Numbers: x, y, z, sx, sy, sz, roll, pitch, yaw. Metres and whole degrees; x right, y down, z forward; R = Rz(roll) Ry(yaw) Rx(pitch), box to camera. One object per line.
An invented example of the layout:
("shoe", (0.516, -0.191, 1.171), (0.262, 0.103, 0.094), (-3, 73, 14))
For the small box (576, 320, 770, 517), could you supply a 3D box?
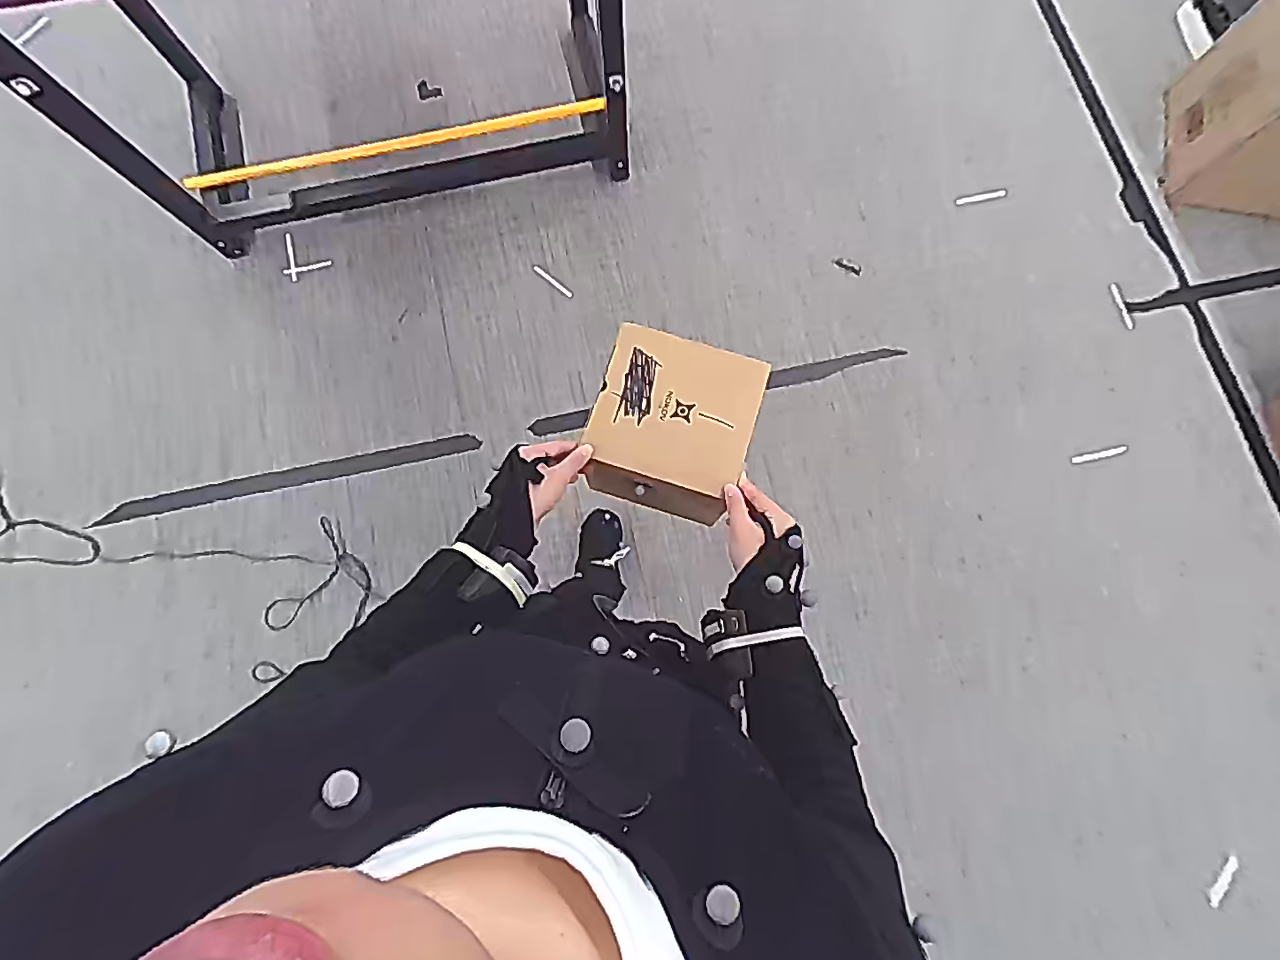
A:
("small box", (0.037, -0.063, 0.664), (0.179, 0.176, 0.168), (18, 77, 3))
